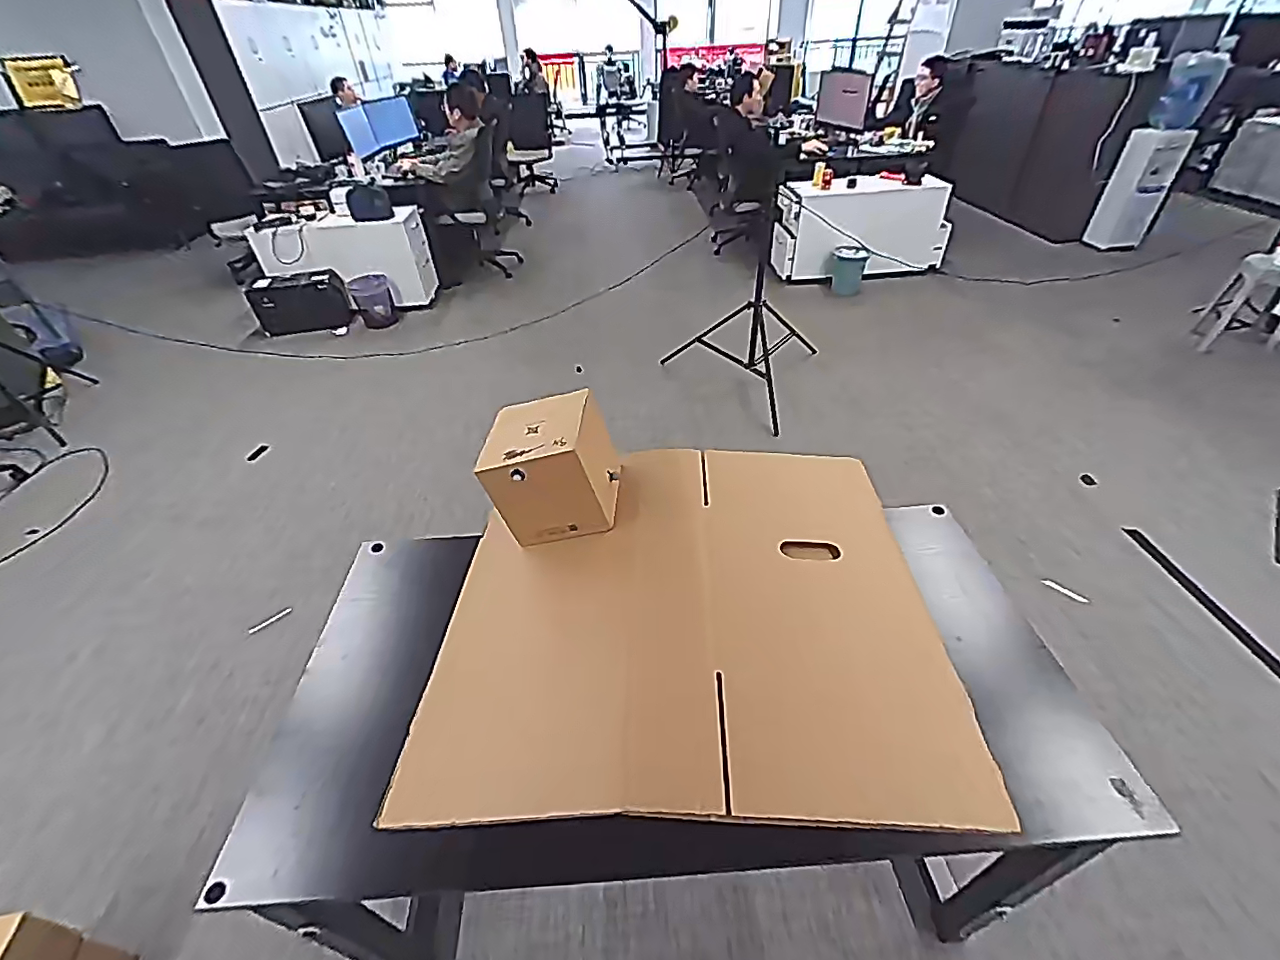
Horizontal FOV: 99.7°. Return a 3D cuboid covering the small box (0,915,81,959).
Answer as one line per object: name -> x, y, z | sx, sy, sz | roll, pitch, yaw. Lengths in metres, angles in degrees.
small box -> -1.181, 0.922, 0.966 | 0.168, 0.176, 0.179 | -8, 39, -7

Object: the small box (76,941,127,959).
small box -> -1.172, 1.050, 1.066 | 0.168, 0.176, 0.179 | -7, 41, -4

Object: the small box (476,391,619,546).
small box -> -0.139, -0.018, 0.896 | 0.168, 0.176, 0.179 | -12, 37, 13
